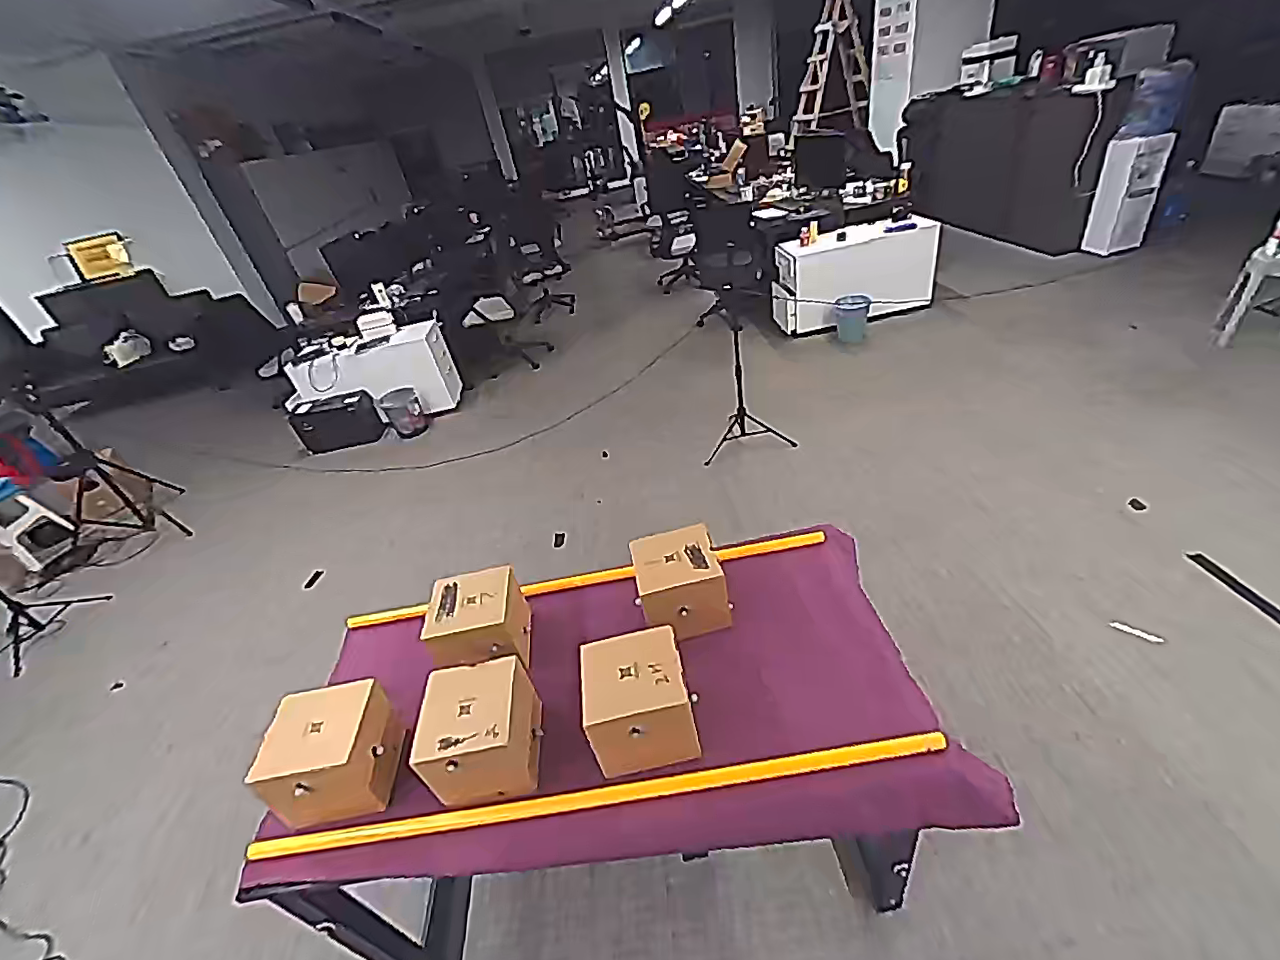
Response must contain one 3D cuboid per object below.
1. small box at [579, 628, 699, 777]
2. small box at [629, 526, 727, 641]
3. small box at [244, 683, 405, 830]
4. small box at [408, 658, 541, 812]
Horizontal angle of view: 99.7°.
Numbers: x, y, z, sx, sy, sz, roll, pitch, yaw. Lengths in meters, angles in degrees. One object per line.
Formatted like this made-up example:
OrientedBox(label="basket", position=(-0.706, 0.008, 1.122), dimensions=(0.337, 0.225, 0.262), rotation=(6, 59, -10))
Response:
OrientedBox(label="small box", position=(-0.003, 0.398, 0.963), dimensions=(0.179, 0.176, 0.168), rotation=(-13, 33, 0))
OrientedBox(label="small box", position=(0.085, 0.230, 1.171), dimensions=(0.179, 0.176, 0.168), rotation=(-14, 36, 0))
OrientedBox(label="small box", position=(-0.559, 0.507, 0.992), dimensions=(0.179, 0.176, 0.168), rotation=(-12, 34, 0))
OrientedBox(label="small box", position=(-0.283, 0.456, 0.972), dimensions=(0.168, 0.176, 0.179), rotation=(-13, 34, 2))
